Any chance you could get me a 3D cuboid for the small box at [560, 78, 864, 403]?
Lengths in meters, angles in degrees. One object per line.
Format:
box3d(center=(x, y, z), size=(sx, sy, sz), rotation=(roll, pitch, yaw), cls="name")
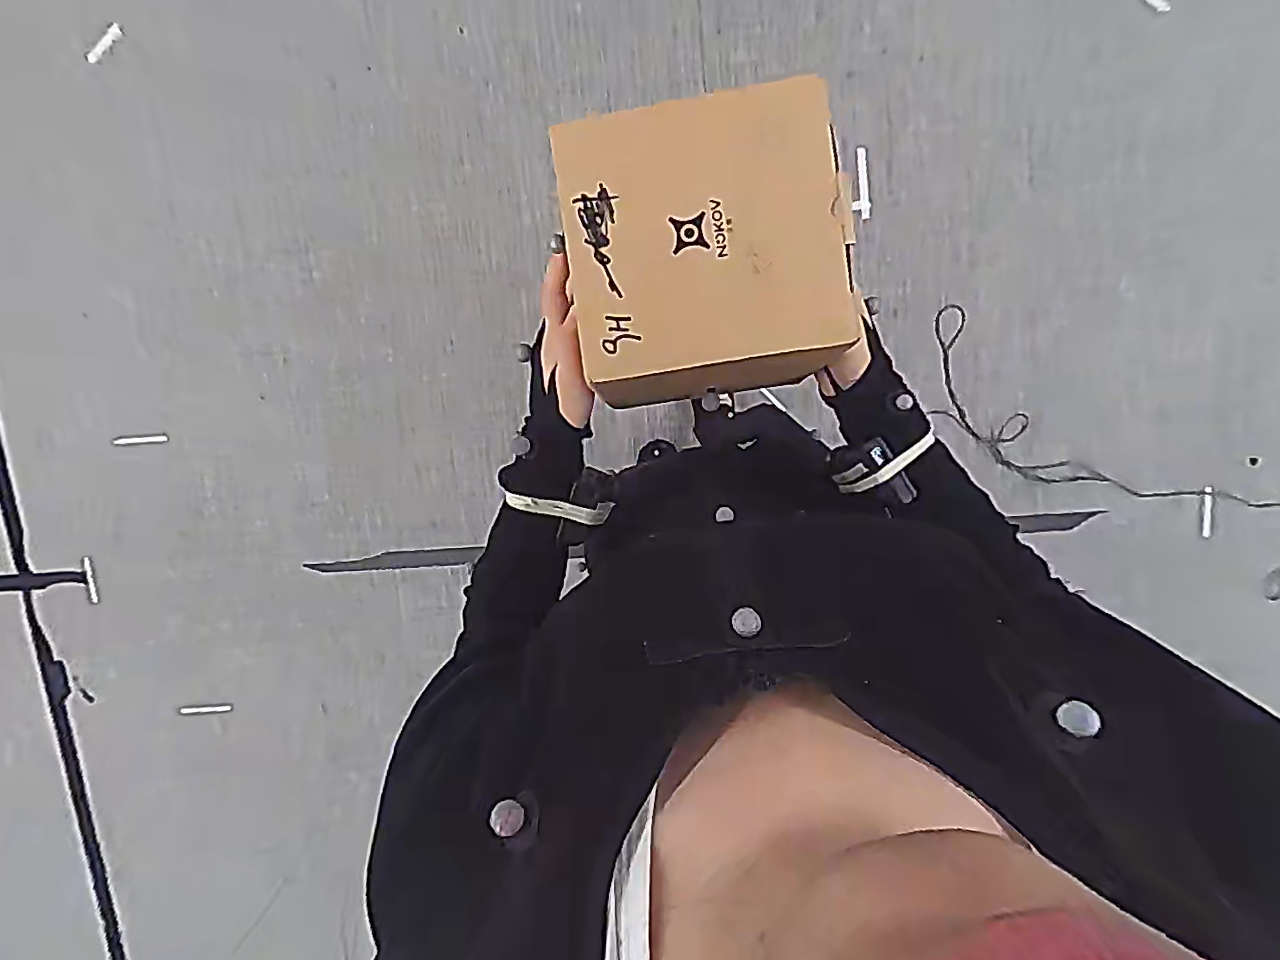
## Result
box3d(center=(0.047, -0.158, 0.417), size=(0.179, 0.176, 0.168), rotation=(-8, 91, 3), cls="small box")
